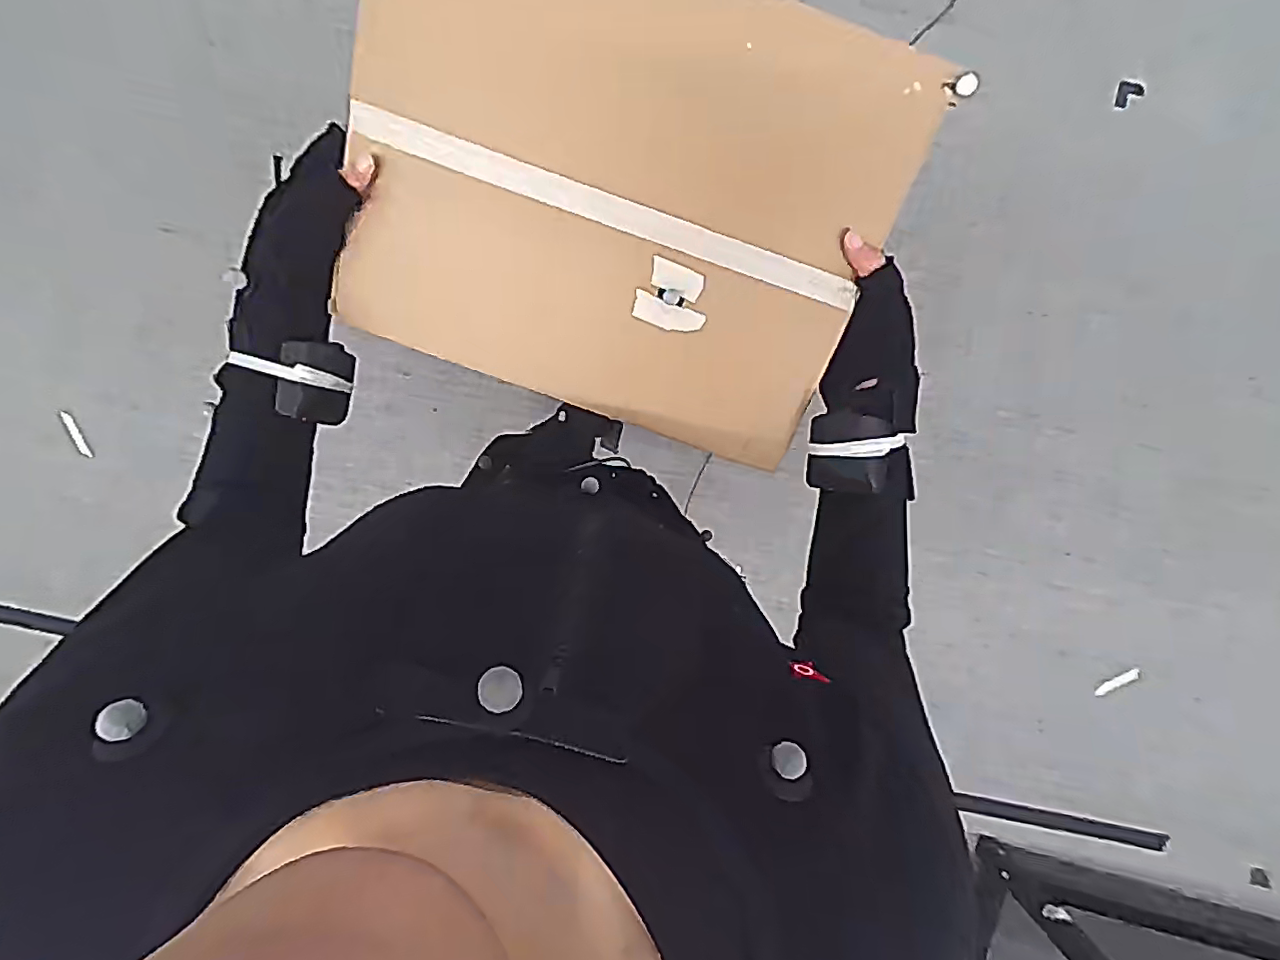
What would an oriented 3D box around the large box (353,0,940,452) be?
[{"bbox_3d":[-0.012,-0.270,0.562,0.408,0.320,0.320,18,114,-4],"label":"large box"}]
